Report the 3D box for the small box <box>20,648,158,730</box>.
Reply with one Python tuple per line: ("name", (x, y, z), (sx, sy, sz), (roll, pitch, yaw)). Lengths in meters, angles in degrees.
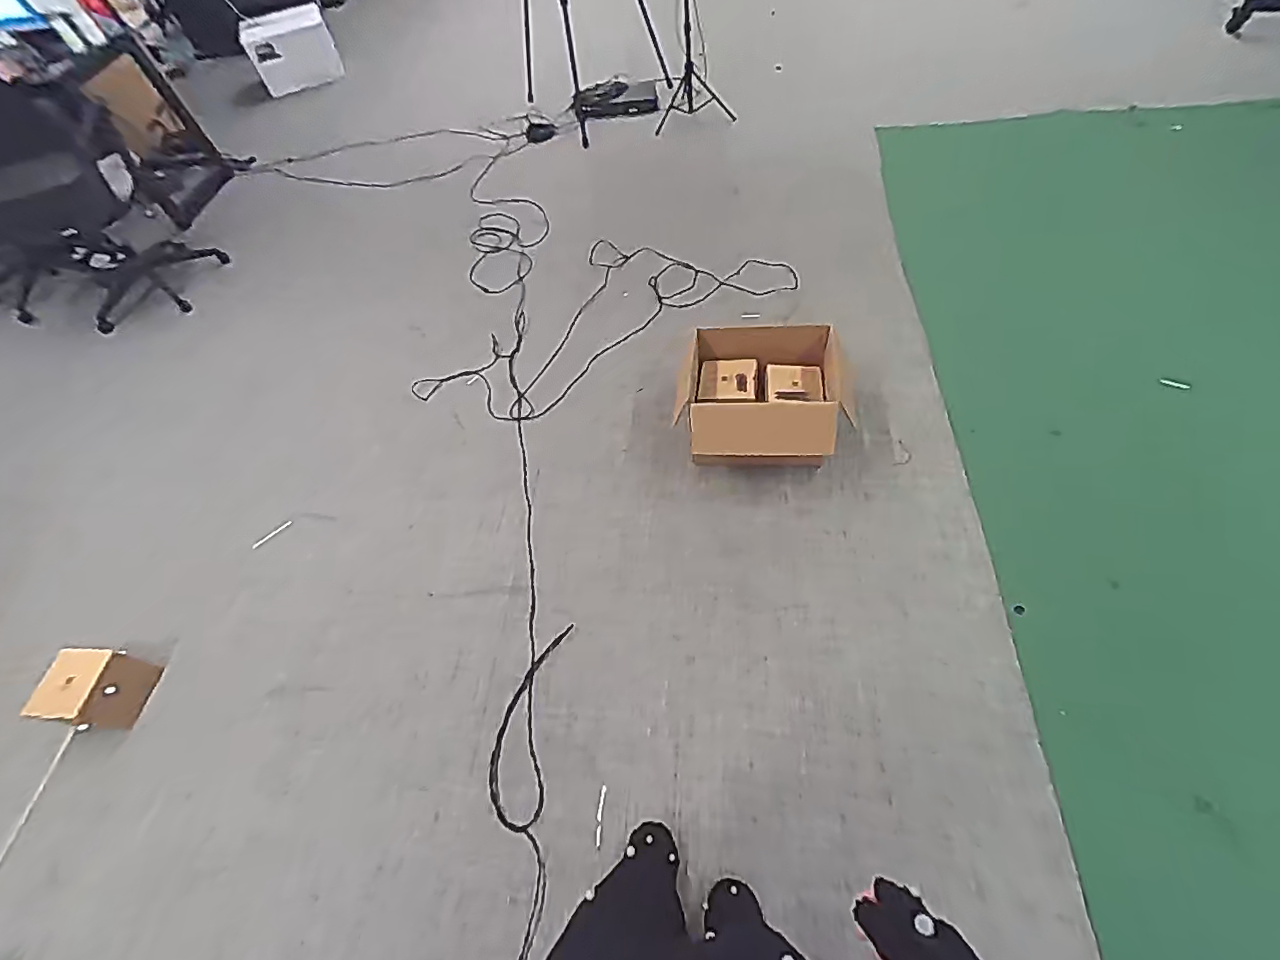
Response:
("small box", (-1.486, 0.574, 1.478), (0.168, 0.176, 0.179), (0, 58, 7))
